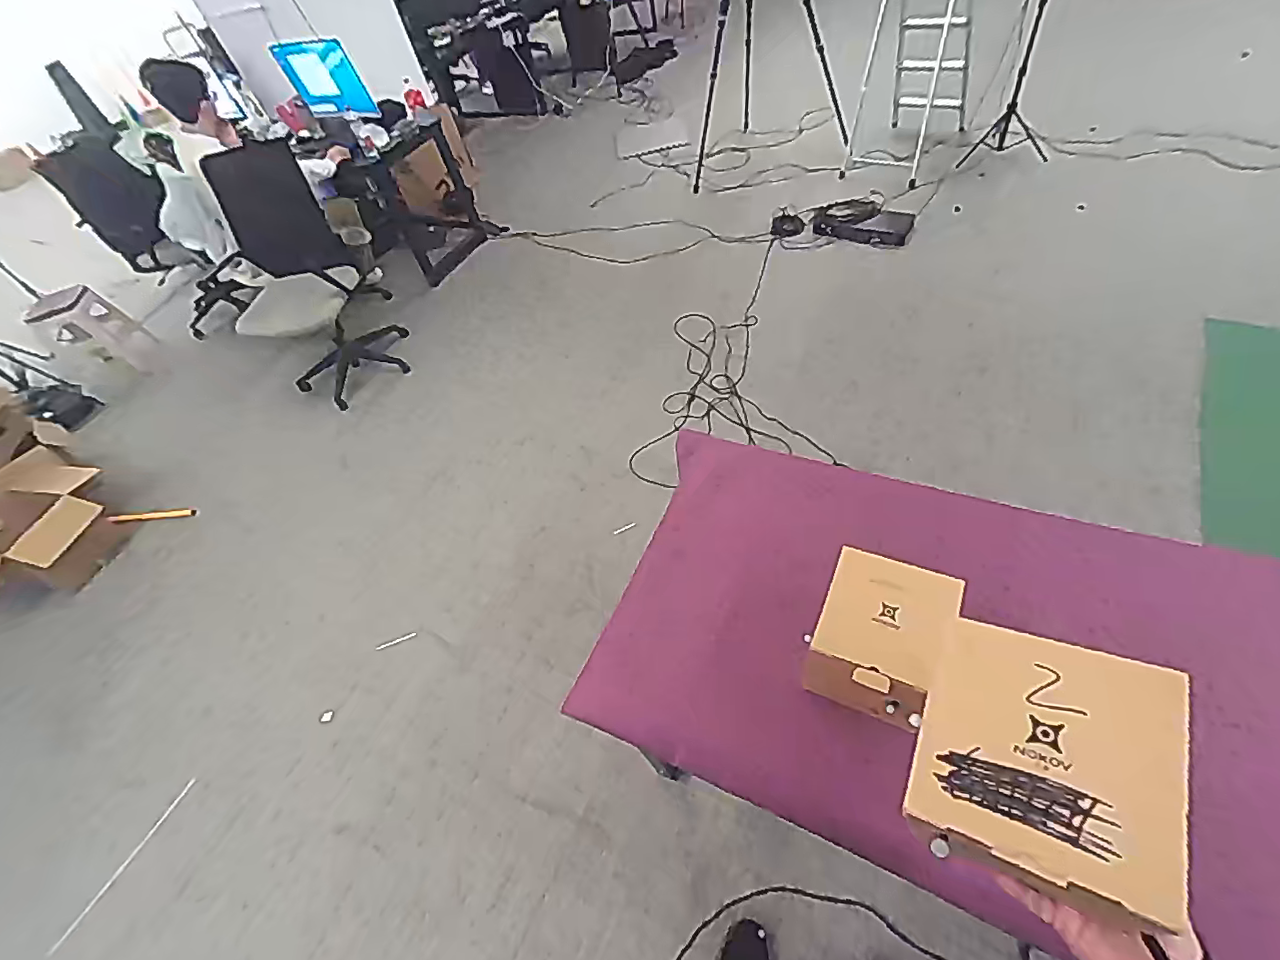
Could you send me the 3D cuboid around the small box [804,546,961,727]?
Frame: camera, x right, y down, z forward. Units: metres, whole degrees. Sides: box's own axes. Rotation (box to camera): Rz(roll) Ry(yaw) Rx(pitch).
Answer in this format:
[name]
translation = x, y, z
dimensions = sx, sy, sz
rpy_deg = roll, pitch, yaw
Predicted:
[small box]
translation = 0.347, 0.233, 0.797
dimensions = 0.168, 0.176, 0.179
rpy_deg = 17, 57, 25
